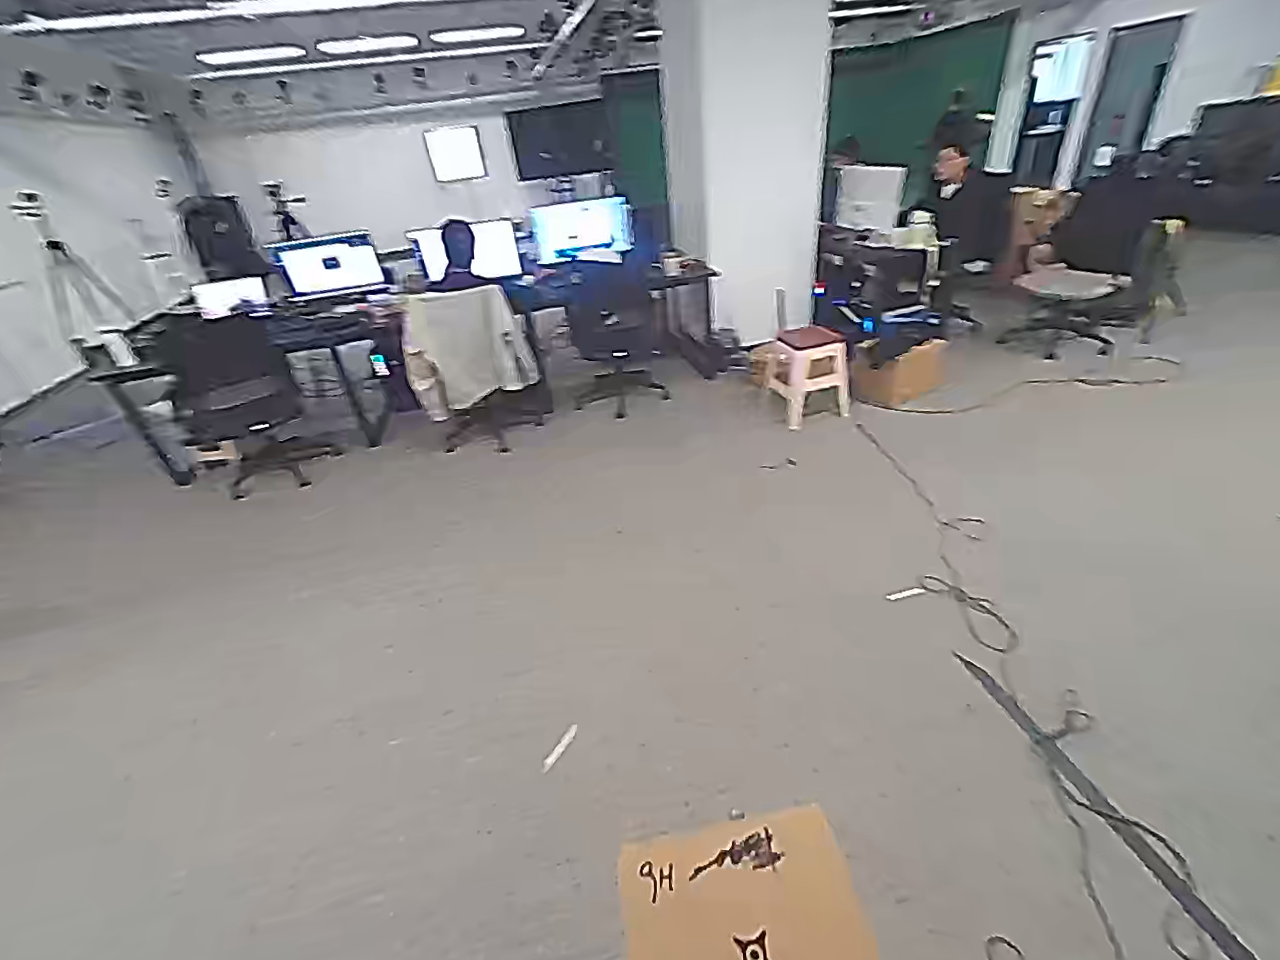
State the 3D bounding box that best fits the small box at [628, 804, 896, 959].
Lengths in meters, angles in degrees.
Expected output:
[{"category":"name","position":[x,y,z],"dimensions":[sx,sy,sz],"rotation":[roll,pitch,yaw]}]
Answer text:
[{"category":"small box","position":[0.088,0.375,0.401],"dimensions":[0.168,0.176,0.179],"rotation":[-8,43,-6]}]
